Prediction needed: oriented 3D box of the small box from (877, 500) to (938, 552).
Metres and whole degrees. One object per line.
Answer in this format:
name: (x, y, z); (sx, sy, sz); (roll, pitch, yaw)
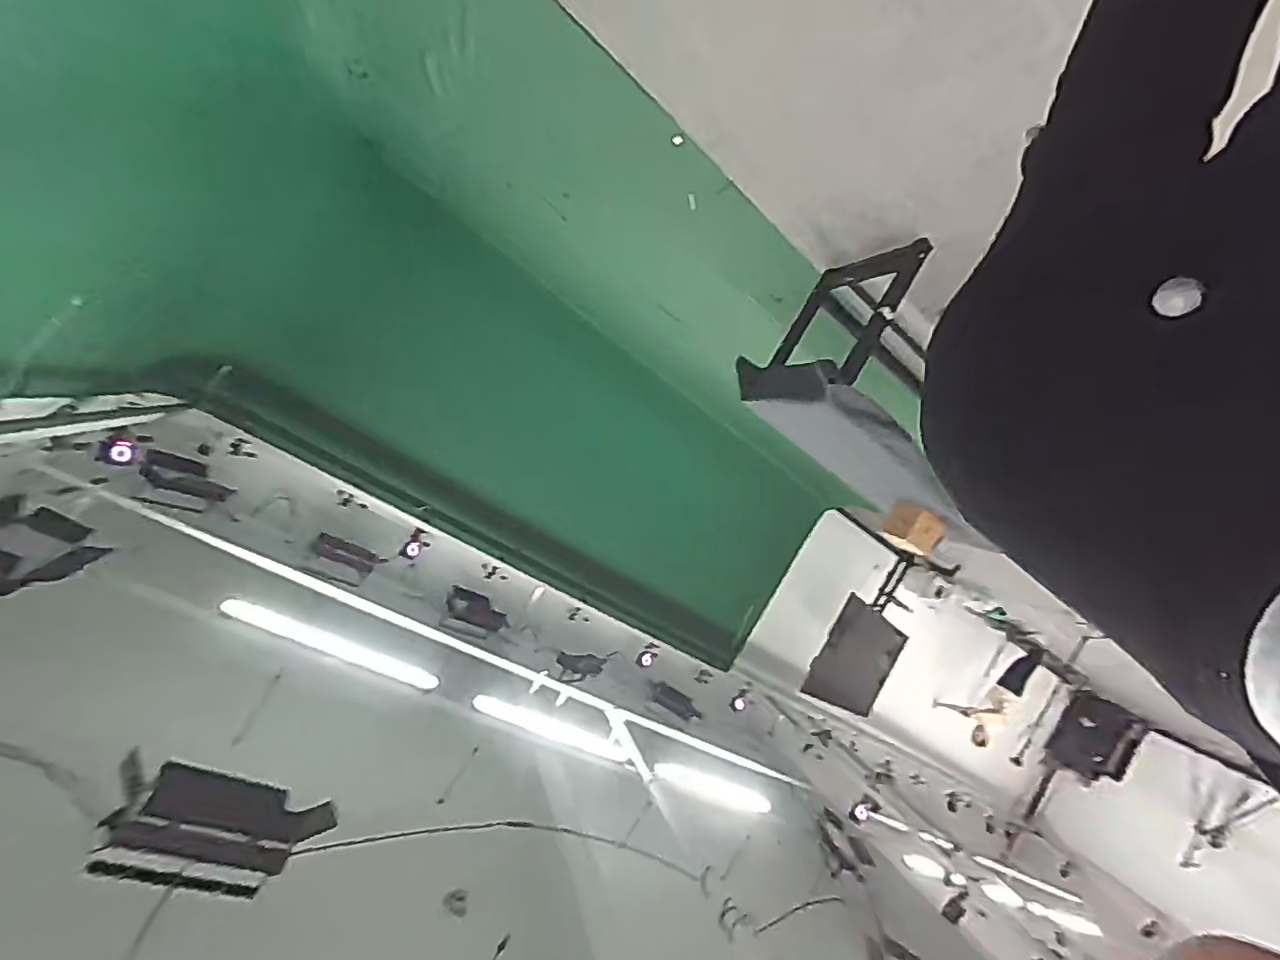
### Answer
small box: (1.262, 0.211, 2.536); (0.168, 0.176, 0.179); (33, 176, -21)
